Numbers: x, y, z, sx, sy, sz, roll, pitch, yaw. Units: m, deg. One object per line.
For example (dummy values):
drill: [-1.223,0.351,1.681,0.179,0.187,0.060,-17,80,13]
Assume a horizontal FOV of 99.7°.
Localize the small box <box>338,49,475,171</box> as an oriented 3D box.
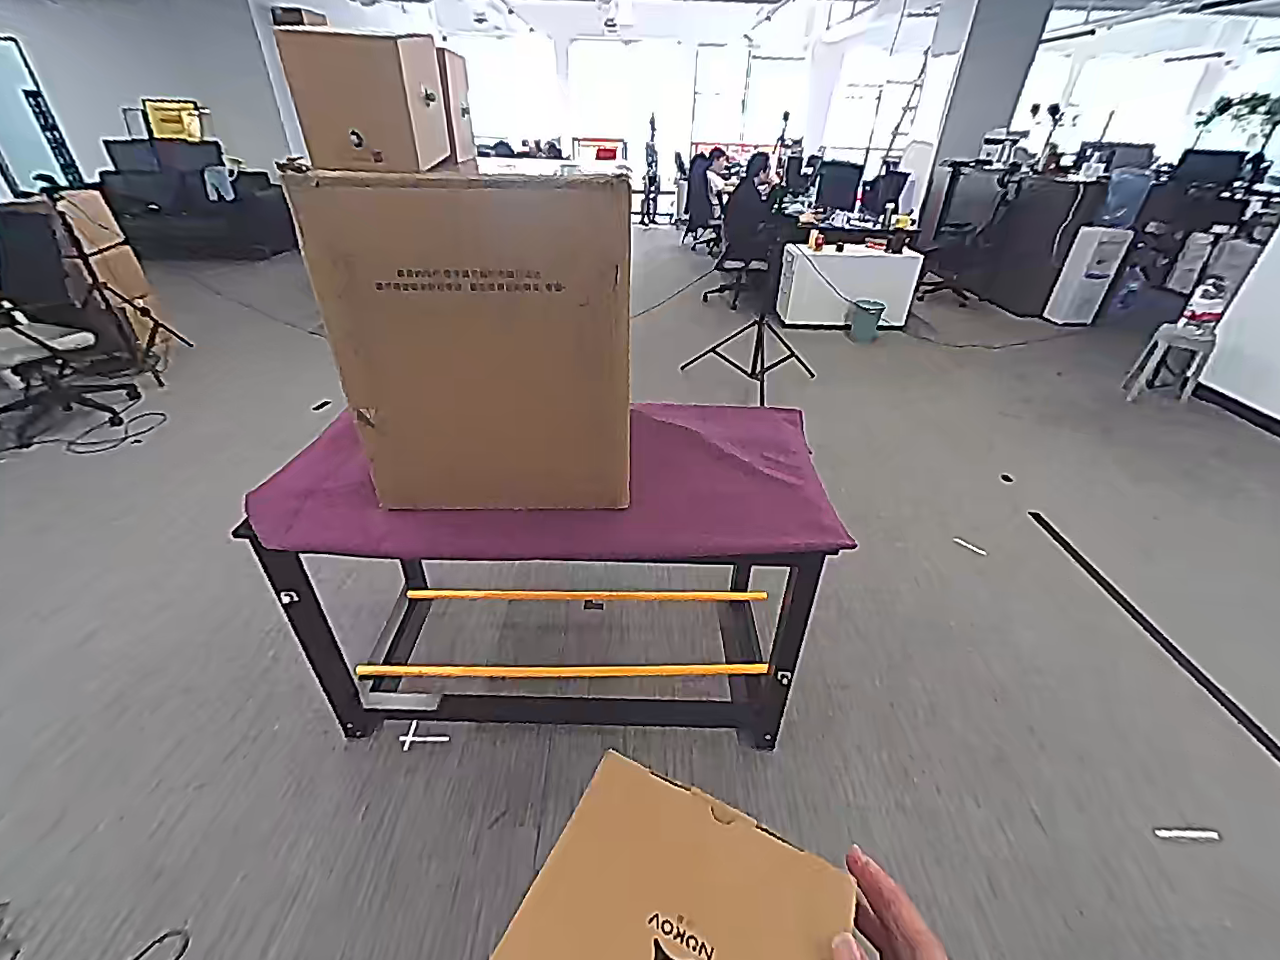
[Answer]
small box: [-0.411,-0.670,0.991,0.179,0.176,0.168,0,33,-3]
